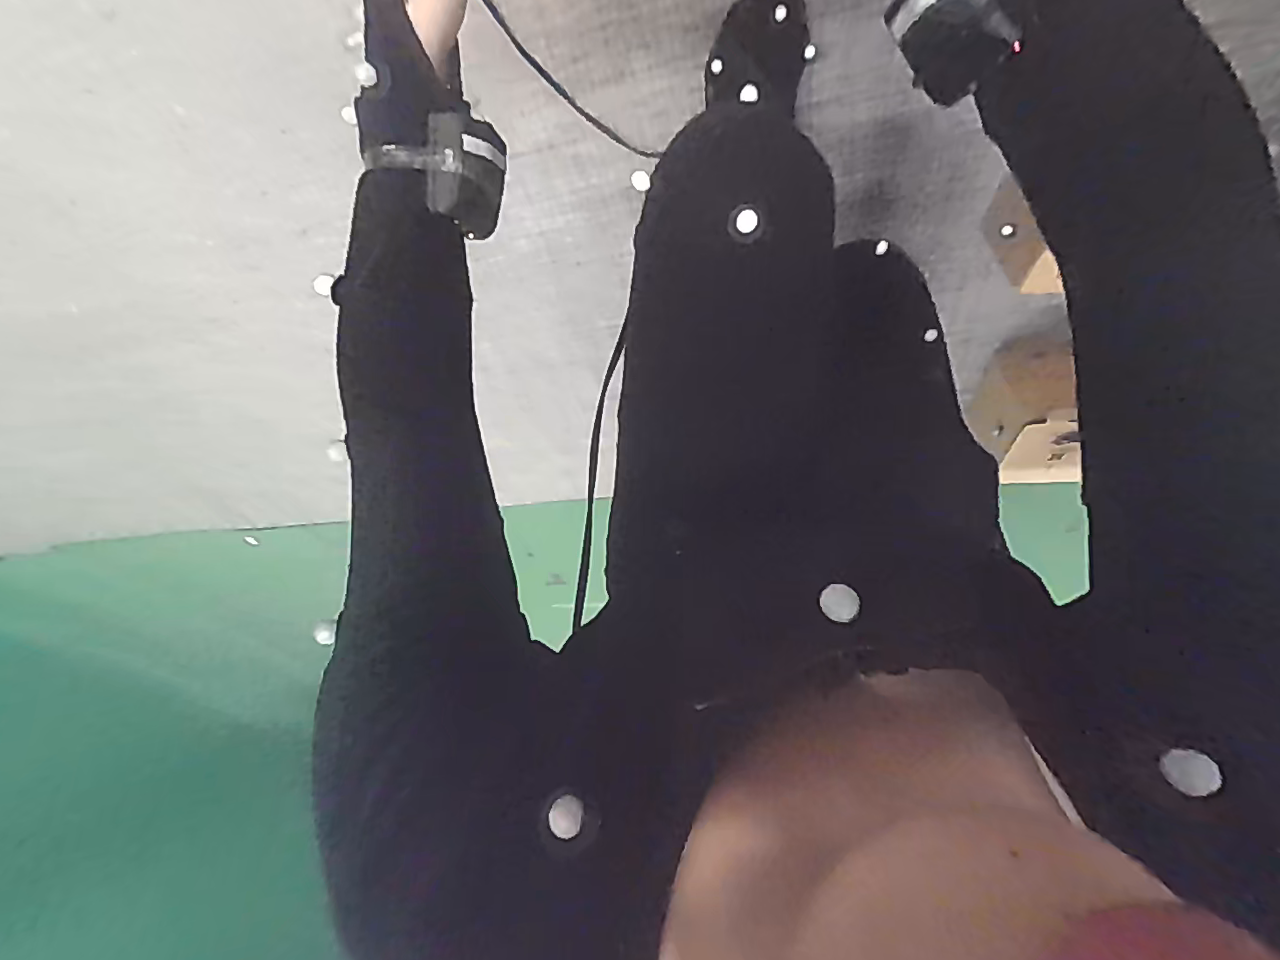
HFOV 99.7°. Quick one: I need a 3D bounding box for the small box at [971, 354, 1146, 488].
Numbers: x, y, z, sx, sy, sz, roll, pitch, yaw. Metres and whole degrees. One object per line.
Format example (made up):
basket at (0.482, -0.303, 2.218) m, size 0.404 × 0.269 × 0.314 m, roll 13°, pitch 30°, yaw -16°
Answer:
small box at (0.710, -0.106, 0.946) m, size 0.168 × 0.176 × 0.179 m, roll -2°, pitch 143°, yaw 11°
